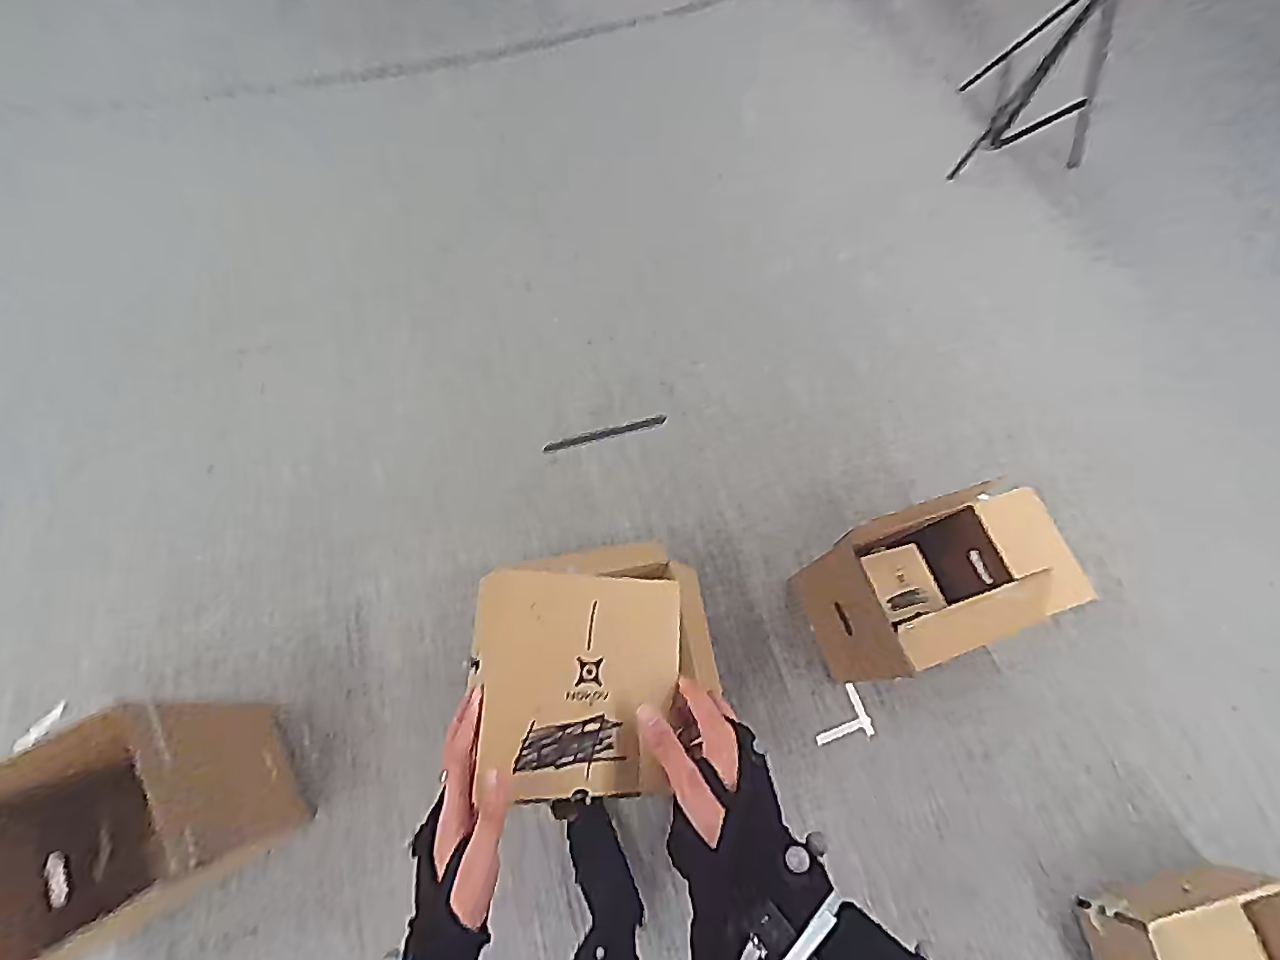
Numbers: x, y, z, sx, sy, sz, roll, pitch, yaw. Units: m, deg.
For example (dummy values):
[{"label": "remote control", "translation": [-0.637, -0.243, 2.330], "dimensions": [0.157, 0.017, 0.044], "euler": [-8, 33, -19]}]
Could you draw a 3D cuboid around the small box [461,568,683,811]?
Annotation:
[{"label": "small box", "translation": [-0.071, 0.181, 0.505], "dimensions": [0.168, 0.176, 0.179], "euler": [8, 74, -19]}]
